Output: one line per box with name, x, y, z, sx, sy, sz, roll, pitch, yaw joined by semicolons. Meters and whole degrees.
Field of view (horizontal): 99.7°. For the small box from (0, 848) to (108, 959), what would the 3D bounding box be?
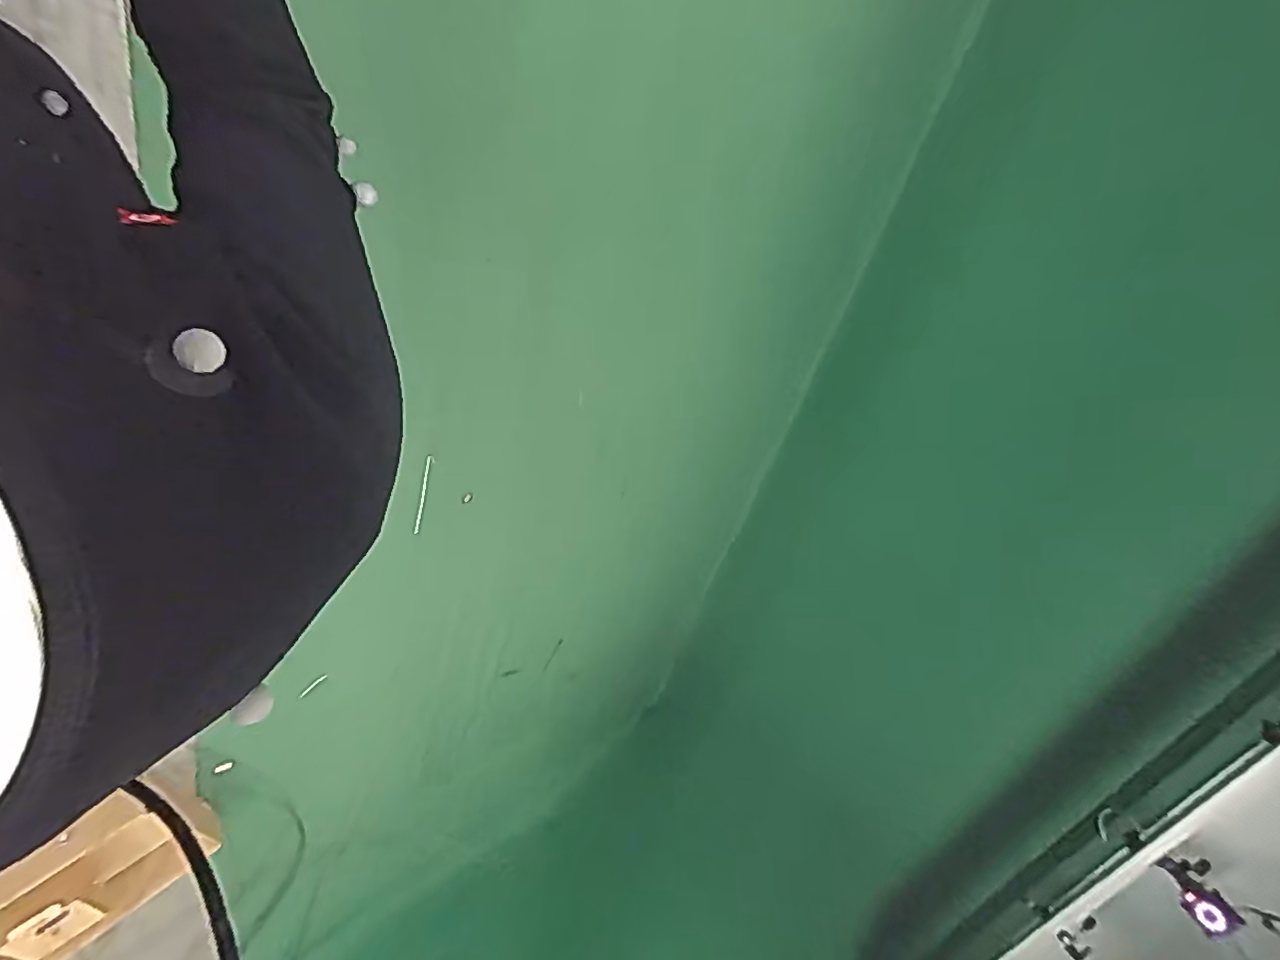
small box;-1.678;1.196;1.540;0.168;0.176;0.179;-27;142;-35
